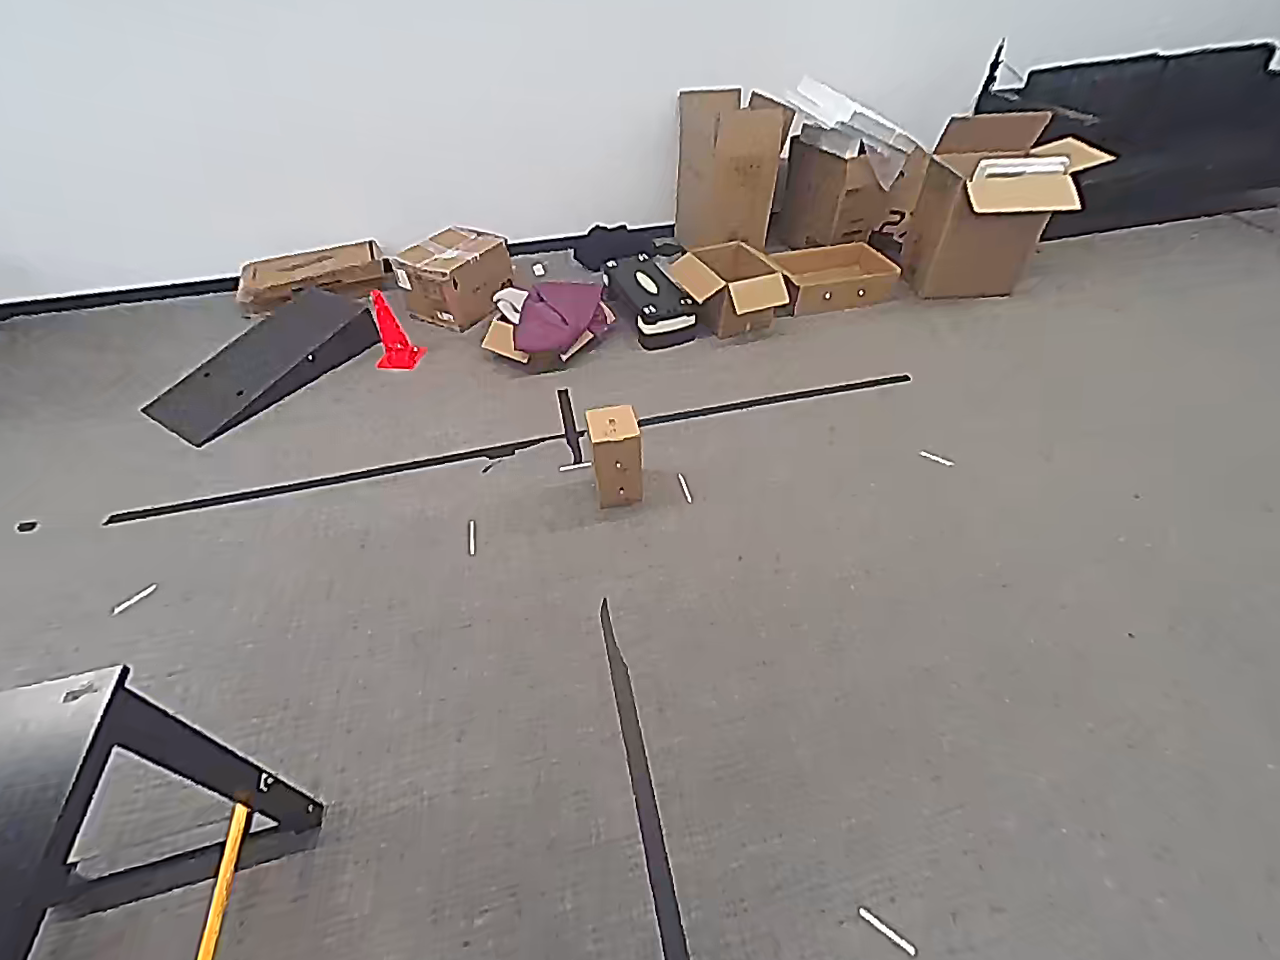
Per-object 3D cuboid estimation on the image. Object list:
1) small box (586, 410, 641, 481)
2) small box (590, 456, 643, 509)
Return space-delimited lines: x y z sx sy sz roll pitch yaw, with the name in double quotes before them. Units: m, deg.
"small box" -0.093 -0.120 1.898 0.168 0.176 0.179 -10 46 -7
"small box" -0.087 -0.009 2.021 0.168 0.176 0.179 -11 47 -8
